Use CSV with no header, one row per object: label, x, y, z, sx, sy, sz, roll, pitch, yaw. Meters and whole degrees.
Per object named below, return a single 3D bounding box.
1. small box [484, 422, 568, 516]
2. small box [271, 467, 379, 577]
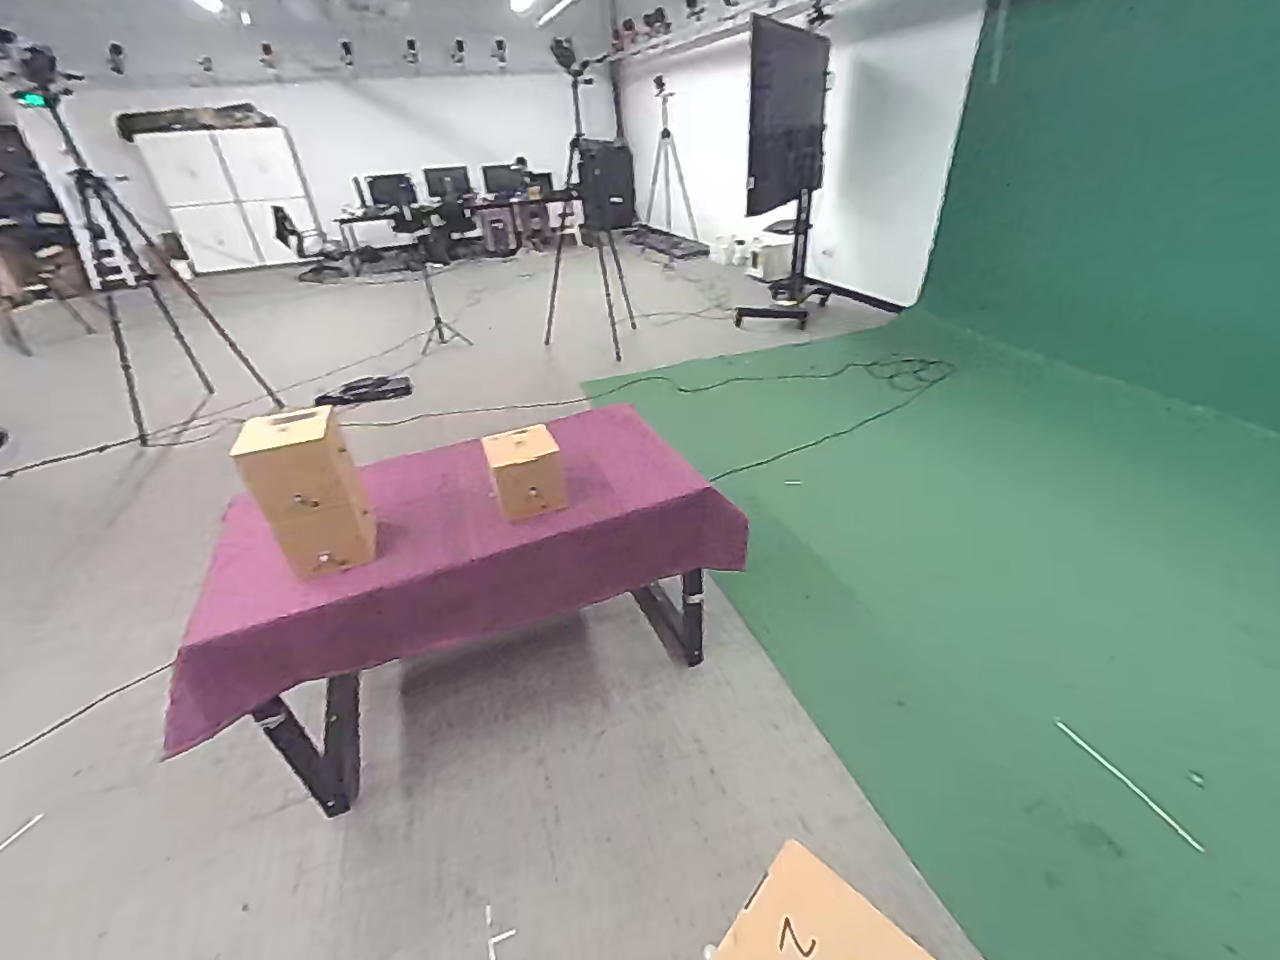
small box,-0.292,-0.024,1.395,0.168,0.176,0.179,-15,35,-17
small box,-0.721,0.096,1.259,0.168,0.176,0.179,-14,35,-16
